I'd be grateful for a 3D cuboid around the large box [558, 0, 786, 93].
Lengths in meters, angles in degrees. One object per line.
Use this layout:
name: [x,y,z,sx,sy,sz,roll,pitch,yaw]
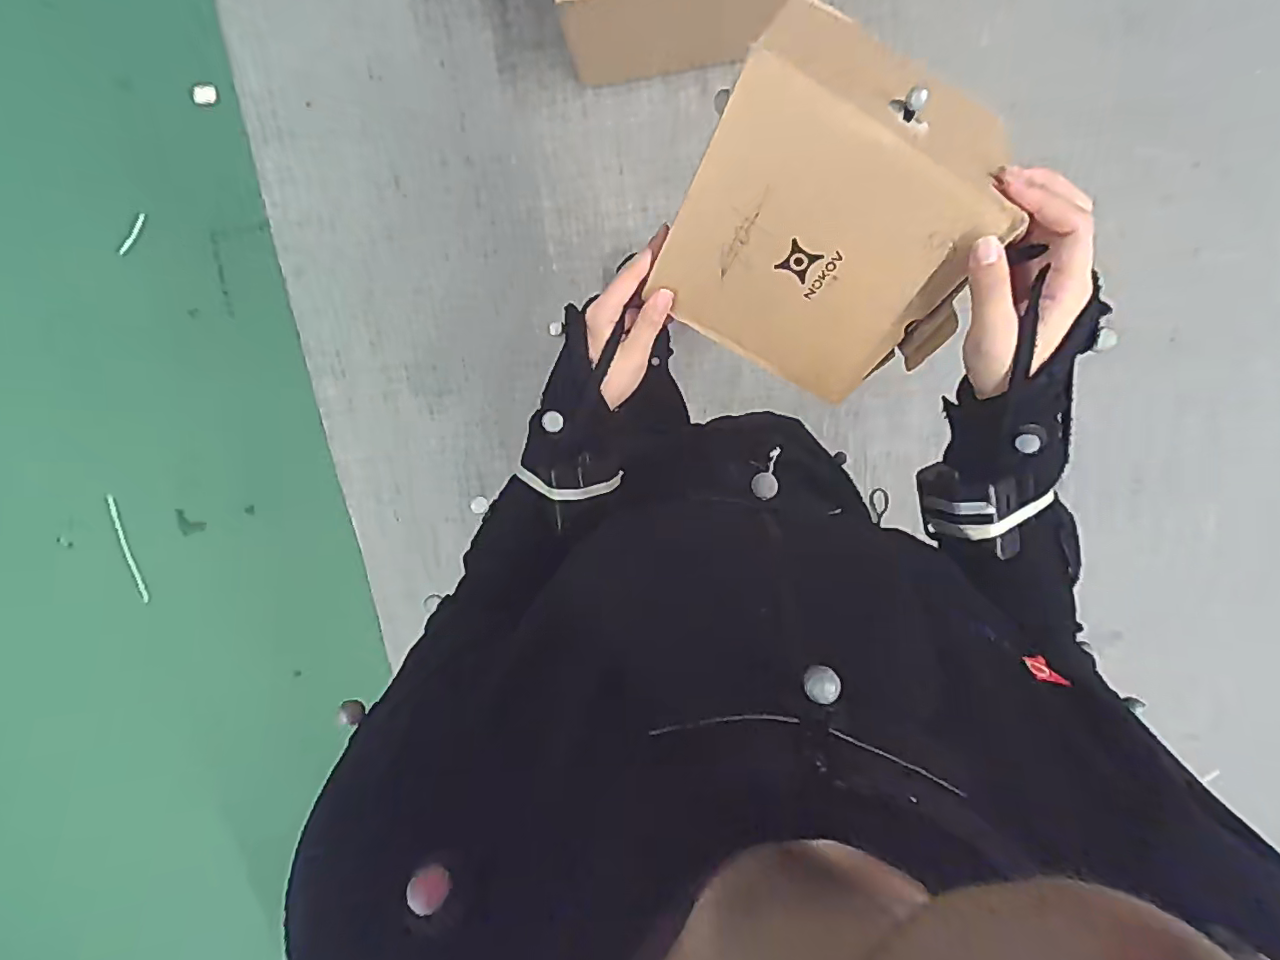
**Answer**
large box: [0.043,-0.967,0.970,0.408,0.320,0.320,-8,104,4]
